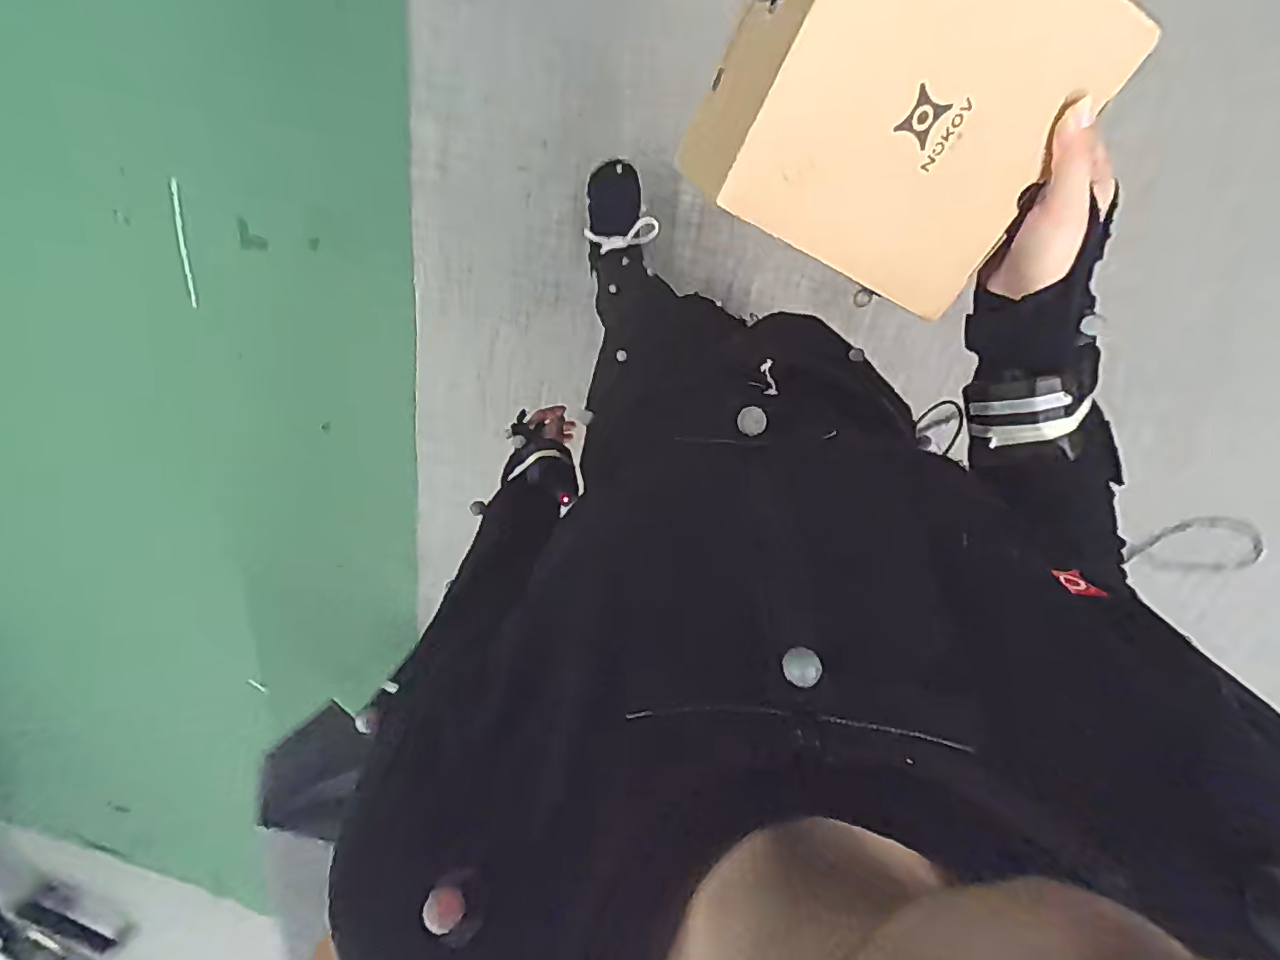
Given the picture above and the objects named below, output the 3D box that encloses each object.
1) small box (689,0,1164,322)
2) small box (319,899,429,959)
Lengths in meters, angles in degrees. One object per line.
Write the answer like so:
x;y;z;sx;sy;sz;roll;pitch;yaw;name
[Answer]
0.151;-0.236;0.353;0.179;0.176;0.168;19;122;-21;small box
-0.569;1.012;1.114;0.179;0.176;0.168;25;117;-2;small box
